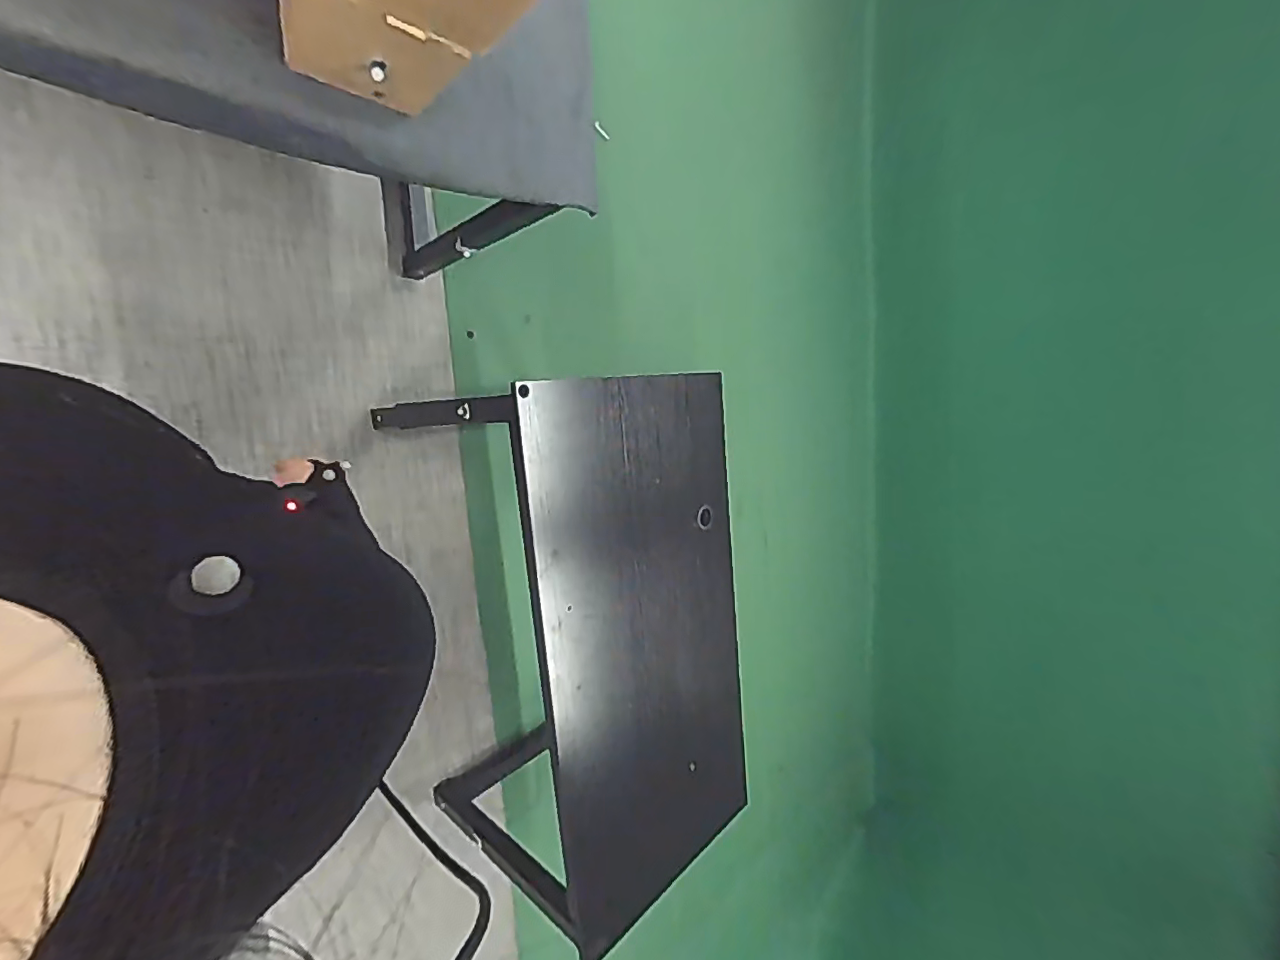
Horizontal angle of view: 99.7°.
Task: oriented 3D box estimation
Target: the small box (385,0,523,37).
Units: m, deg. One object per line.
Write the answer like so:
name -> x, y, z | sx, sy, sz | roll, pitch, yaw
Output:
small box -> -0.202, -0.597, 0.540 | 0.179, 0.176, 0.168 | -10, 99, -44

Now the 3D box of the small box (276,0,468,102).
small box -> -0.325, -0.602, 0.648 | 0.168, 0.176, 0.179 | -8, 98, -45
